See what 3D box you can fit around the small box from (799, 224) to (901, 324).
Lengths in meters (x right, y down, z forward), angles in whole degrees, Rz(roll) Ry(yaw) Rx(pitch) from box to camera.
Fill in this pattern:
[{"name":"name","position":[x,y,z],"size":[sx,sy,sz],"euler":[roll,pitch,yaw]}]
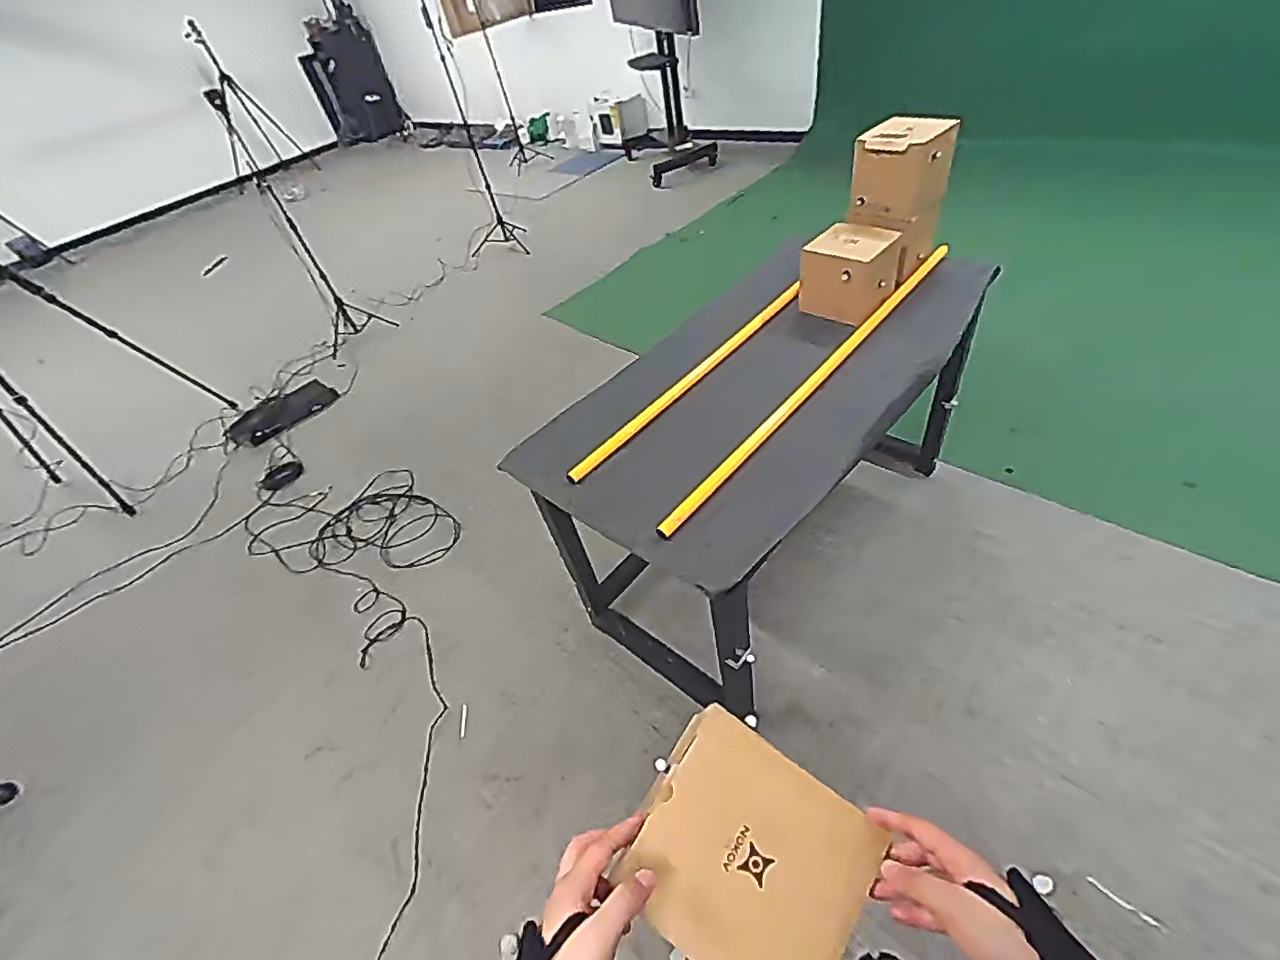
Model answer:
[{"name":"small box","position":[0.518,-0.511,1.351],"size":[0.179,0.176,0.168],"euler":[31,59,35]}]

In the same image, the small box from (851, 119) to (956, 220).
[{"name":"small box","position":[0.641,-0.765,1.334],"size":[0.179,0.176,0.168],"euler":[-39,51,-23]}]

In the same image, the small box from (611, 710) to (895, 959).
[{"name":"small box","position":[0.094,0.342,0.506],"size":[0.179,0.176,0.168],"euler":[31,68,16]}]
